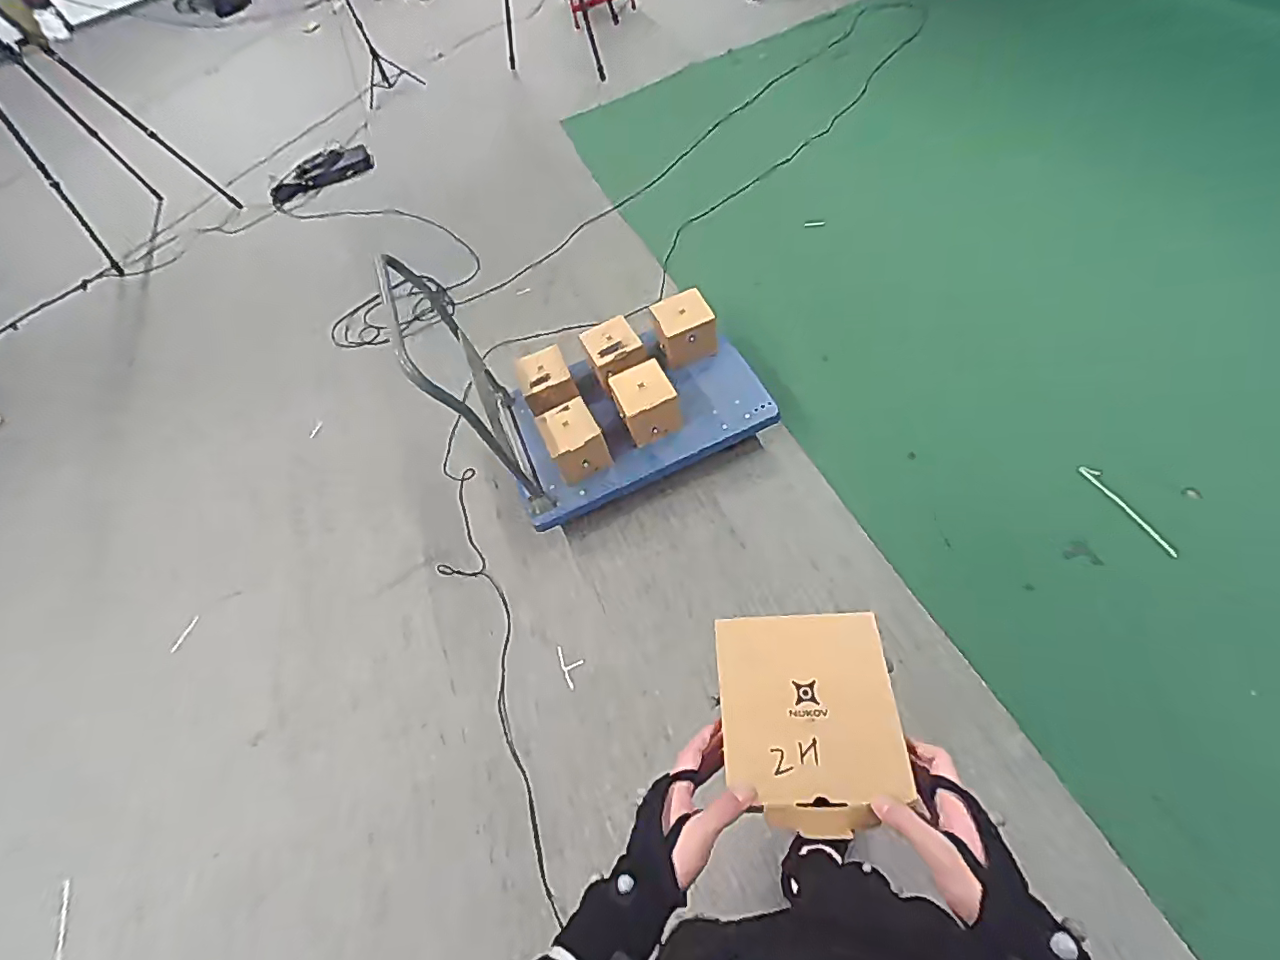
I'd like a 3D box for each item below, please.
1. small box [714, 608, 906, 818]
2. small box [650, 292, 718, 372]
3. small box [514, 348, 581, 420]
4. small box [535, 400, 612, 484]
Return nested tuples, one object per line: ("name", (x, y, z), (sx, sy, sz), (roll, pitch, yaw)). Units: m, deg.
("small box", (0.170, 0.253, 0.584), (0.168, 0.176, 0.179), (-1, 59, 13))
("small box", (0.155, -0.498, 1.846), (0.179, 0.176, 0.168), (-23, 58, -1))
("small box", (-0.303, -0.307, 1.828), (0.168, 0.176, 0.179), (-22, 57, -2))
("small box", (-0.203, -0.110, 1.686), (0.168, 0.176, 0.179), (-27, 58, -5))
